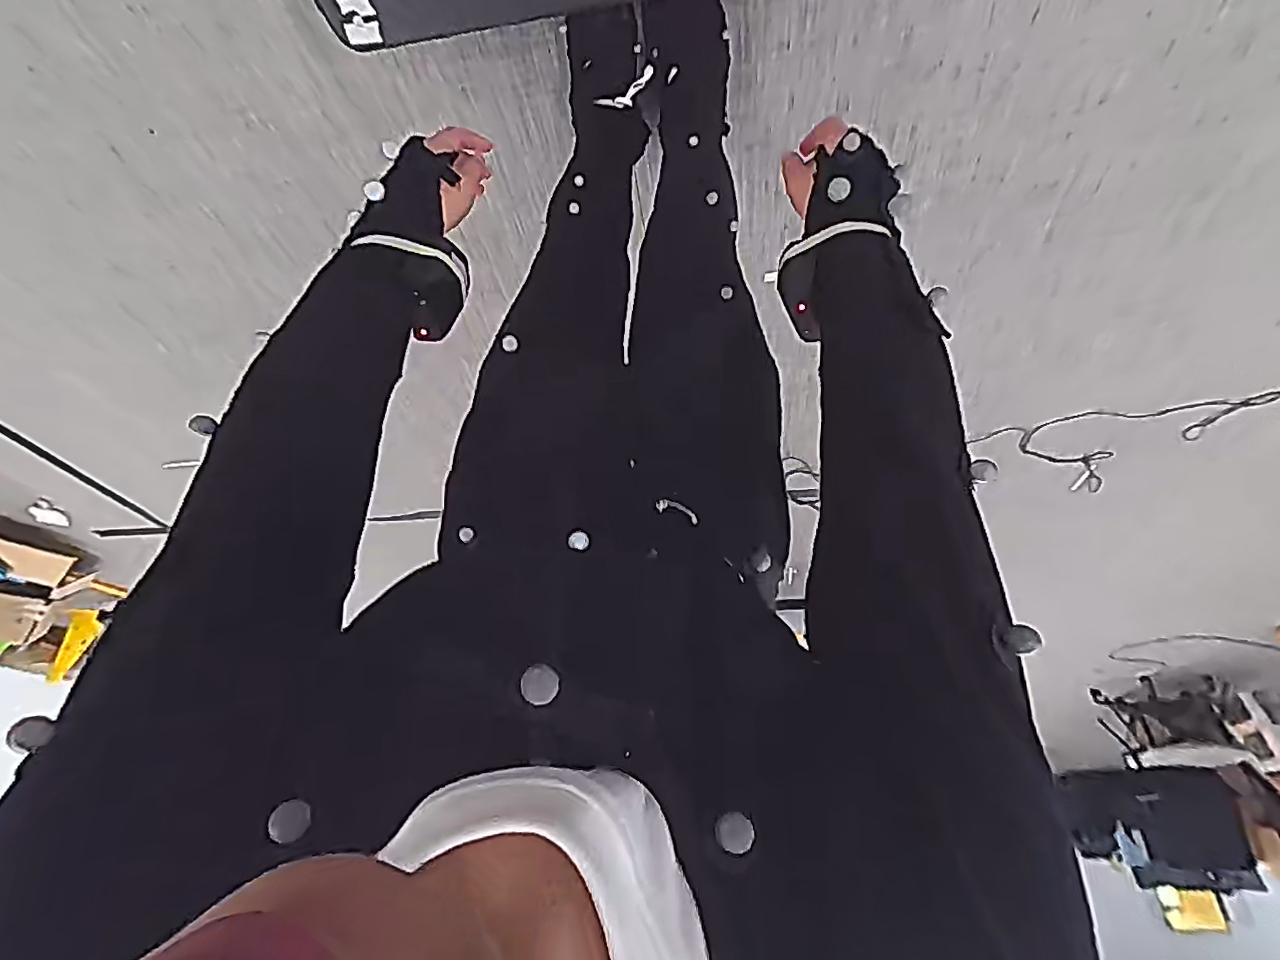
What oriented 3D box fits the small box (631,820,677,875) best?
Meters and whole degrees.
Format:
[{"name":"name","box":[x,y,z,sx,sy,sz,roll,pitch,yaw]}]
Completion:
[{"name":"small box","box":[0.057,1.412,2.078,0.168,0.176,0.179,-4,144,5]}]

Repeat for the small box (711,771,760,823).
[{"name":"small box","box":[0.375,1.253,2.135,0.179,0.176,0.168,-3,144,7]}]
